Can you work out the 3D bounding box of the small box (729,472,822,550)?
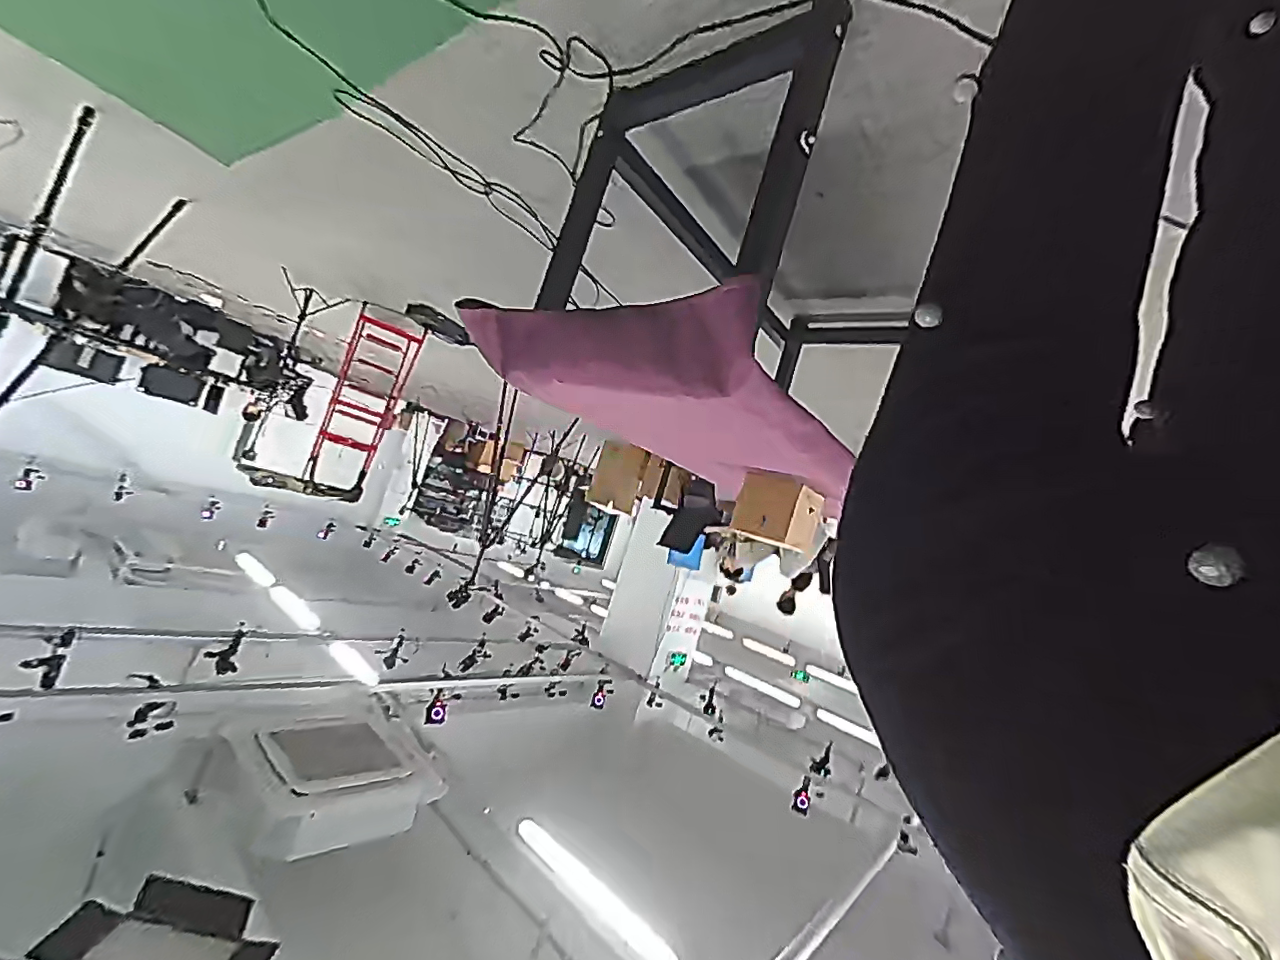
[{"bbox_3d":[0.382,0.082,1.512,0.179,0.176,0.168,12,172,41],"label":"small box"}]
